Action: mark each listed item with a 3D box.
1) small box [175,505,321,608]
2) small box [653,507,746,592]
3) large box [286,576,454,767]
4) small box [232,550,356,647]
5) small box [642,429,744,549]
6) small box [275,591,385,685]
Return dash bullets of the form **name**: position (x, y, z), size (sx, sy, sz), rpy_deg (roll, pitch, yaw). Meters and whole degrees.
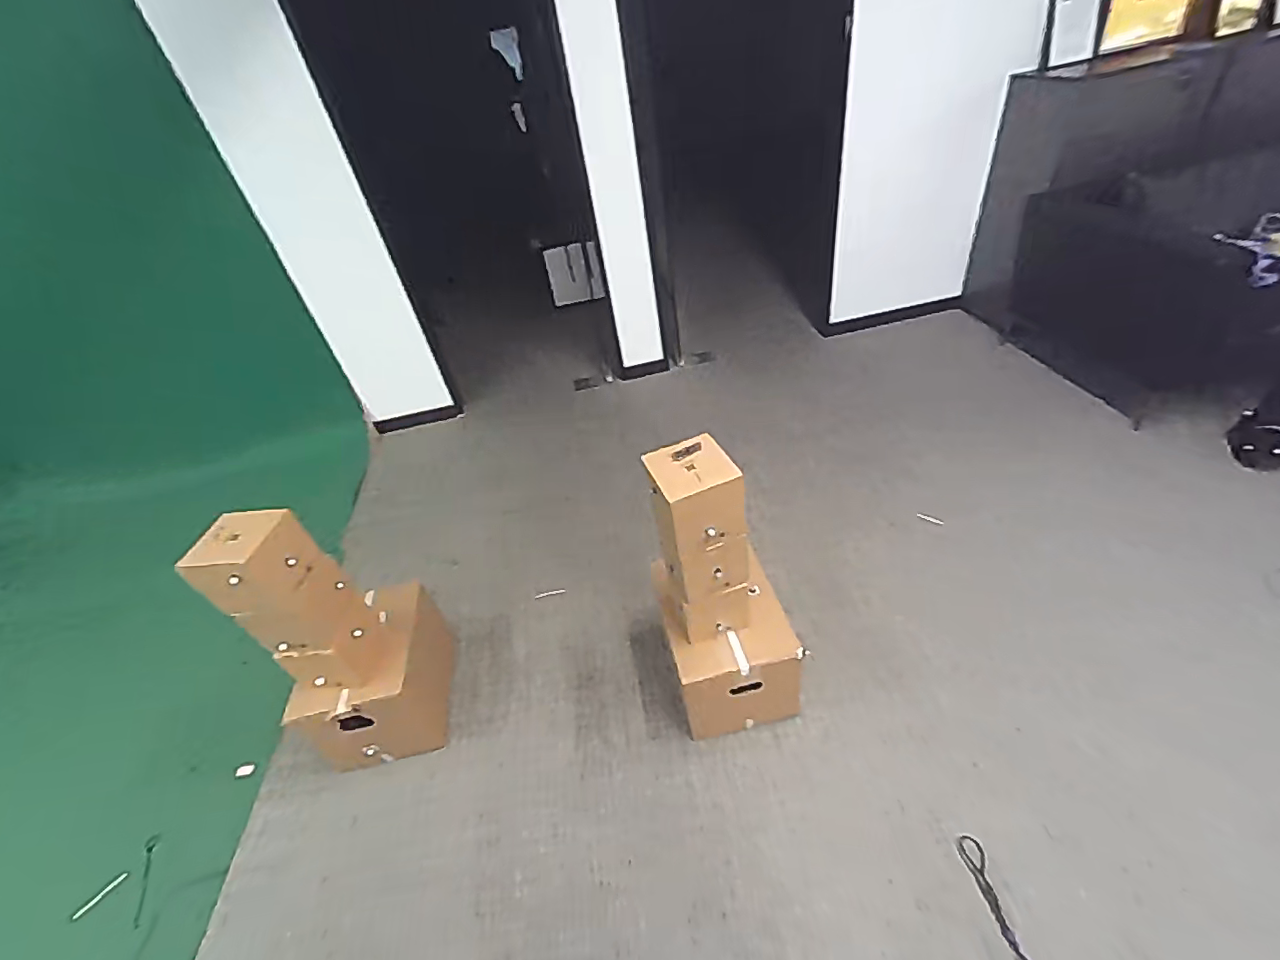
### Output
- **small box**: position (-0.881, 0.178, 1.240), size (0.179, 0.176, 0.168), rpy_deg (-5, 40, 10)
- **small box**: position (0.146, 0.145, 1.296), size (0.168, 0.176, 0.179), rpy_deg (-20, 42, -8)
- **large box**: position (-0.781, 0.572, 1.642), size (0.320, 0.320, 0.408), rpy_deg (-13, 39, -3)
- **small box**: position (-0.847, 0.297, 1.349), size (0.168, 0.176, 0.179), rpy_deg (-5, 41, 9)
- **small box**: position (0.117, 0.020, 1.190), size (0.168, 0.176, 0.179), rpy_deg (-21, 41, -9)
- **small box**: position (-0.815, 0.423, 1.447), size (0.168, 0.176, 0.179), rpy_deg (-7, 41, 6)
